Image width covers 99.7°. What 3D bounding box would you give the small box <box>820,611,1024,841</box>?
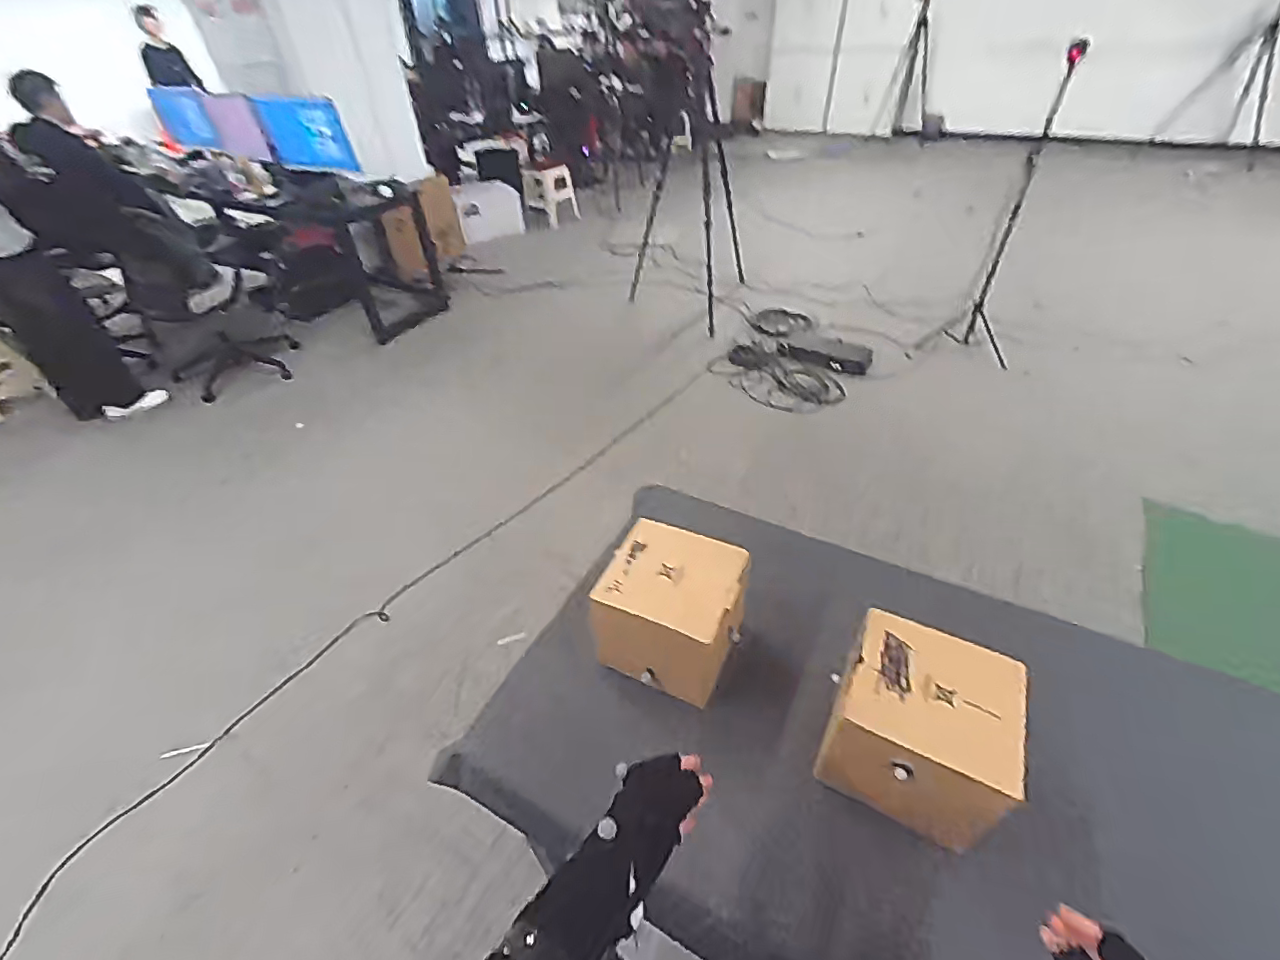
[{"bbox_3d":[0.337,0.301,0.665,0.179,0.176,0.168,19,45,23],"label":"small box"}]

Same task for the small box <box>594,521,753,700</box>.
[{"bbox_3d":[0.051,0.196,0.802,0.179,0.176,0.168,17,44,20],"label":"small box"}]
